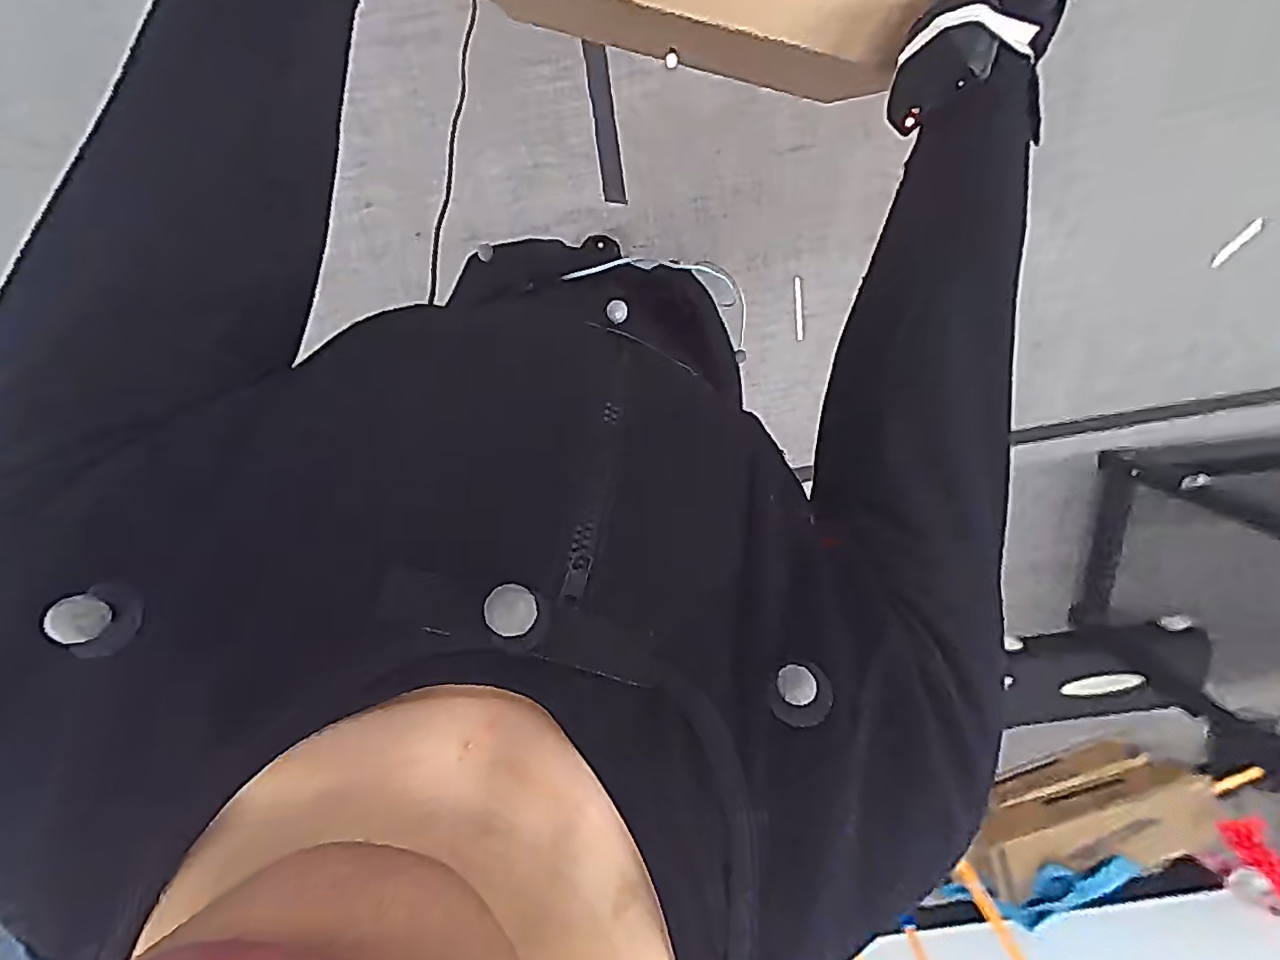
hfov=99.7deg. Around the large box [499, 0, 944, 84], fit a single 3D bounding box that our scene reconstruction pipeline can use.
[{"bbox_3d":[0.059,-0.562,0.446,0.408,0.320,0.320,12,121,-4],"label":"large box"}]
